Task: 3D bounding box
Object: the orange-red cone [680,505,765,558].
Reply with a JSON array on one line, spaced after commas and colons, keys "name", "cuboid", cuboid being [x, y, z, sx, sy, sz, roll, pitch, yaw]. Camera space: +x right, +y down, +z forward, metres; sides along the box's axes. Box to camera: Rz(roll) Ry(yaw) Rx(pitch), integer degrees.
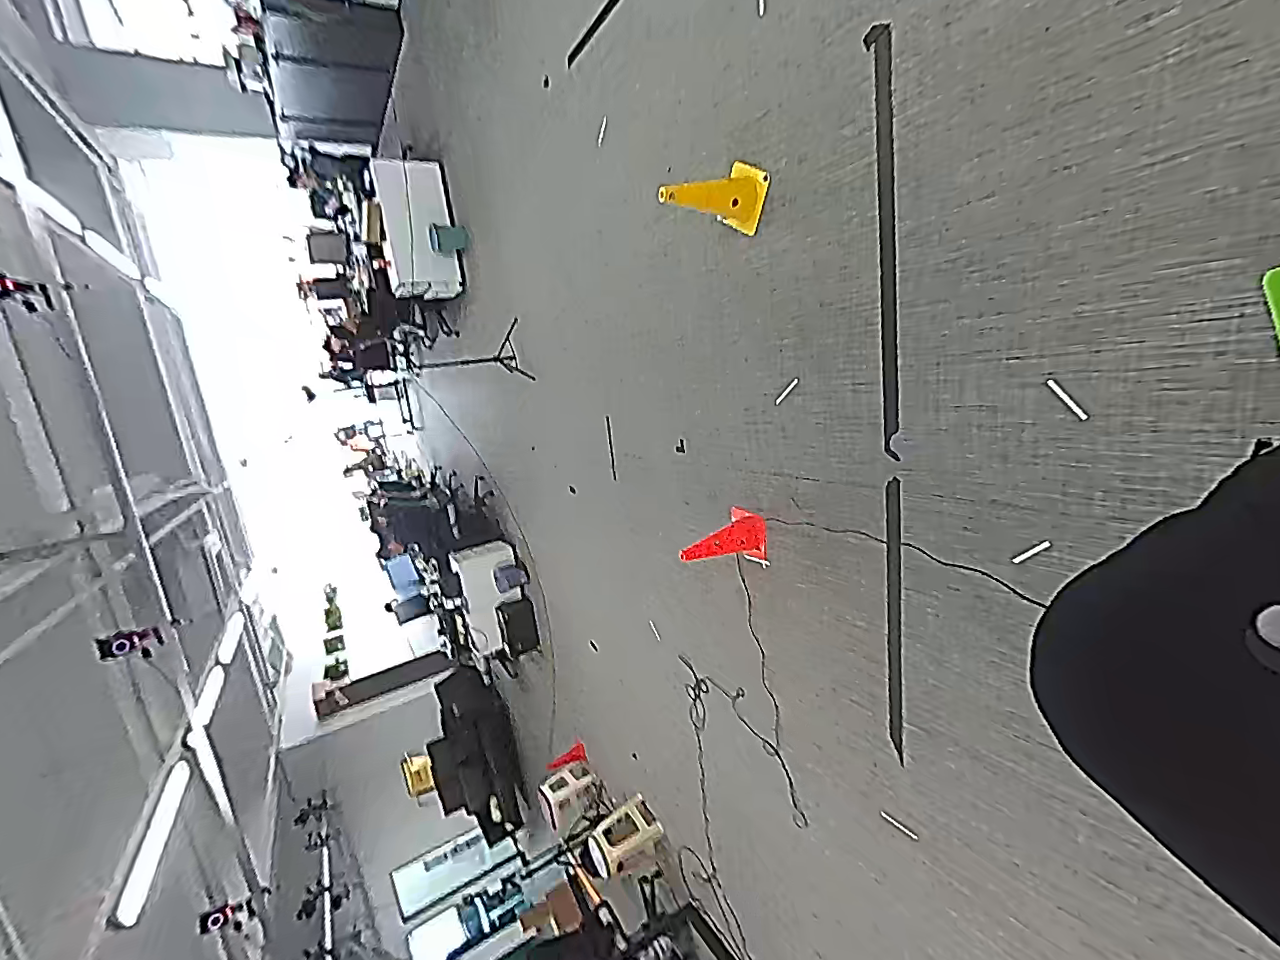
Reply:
[{"name": "orange-red cone", "cuboid": [0.320, 0.255, 2.229, 0.198, 0.360, 0.199, 24, 122, 54]}]
